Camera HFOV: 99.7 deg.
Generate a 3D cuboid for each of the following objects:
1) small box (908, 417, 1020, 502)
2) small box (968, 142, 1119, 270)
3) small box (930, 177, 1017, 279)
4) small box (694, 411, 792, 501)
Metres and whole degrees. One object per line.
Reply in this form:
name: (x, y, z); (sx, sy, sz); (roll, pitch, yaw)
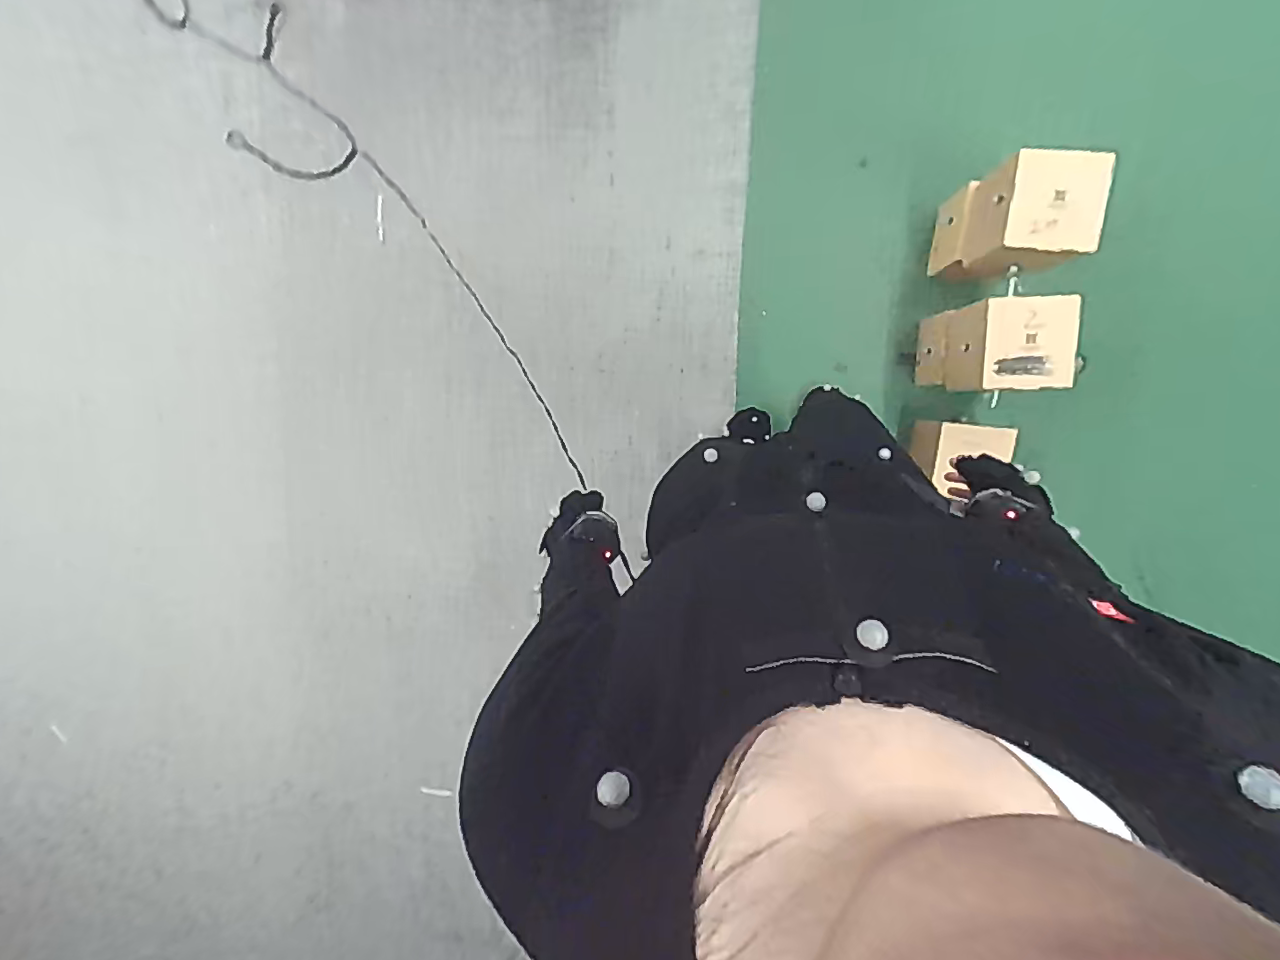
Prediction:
small box: (0.773, -0.056, 1.311); (0.168, 0.176, 0.179); (7, 99, 6)
small box: (0.784, -0.534, 1.072); (0.168, 0.176, 0.179); (7, 99, 6)
small box: (0.794, -0.566, 1.233); (0.179, 0.176, 0.168); (8, 99, 6)
small box: (0.262, -0.059, 1.391); (0.168, 0.176, 0.179); (-34, 72, 25)
